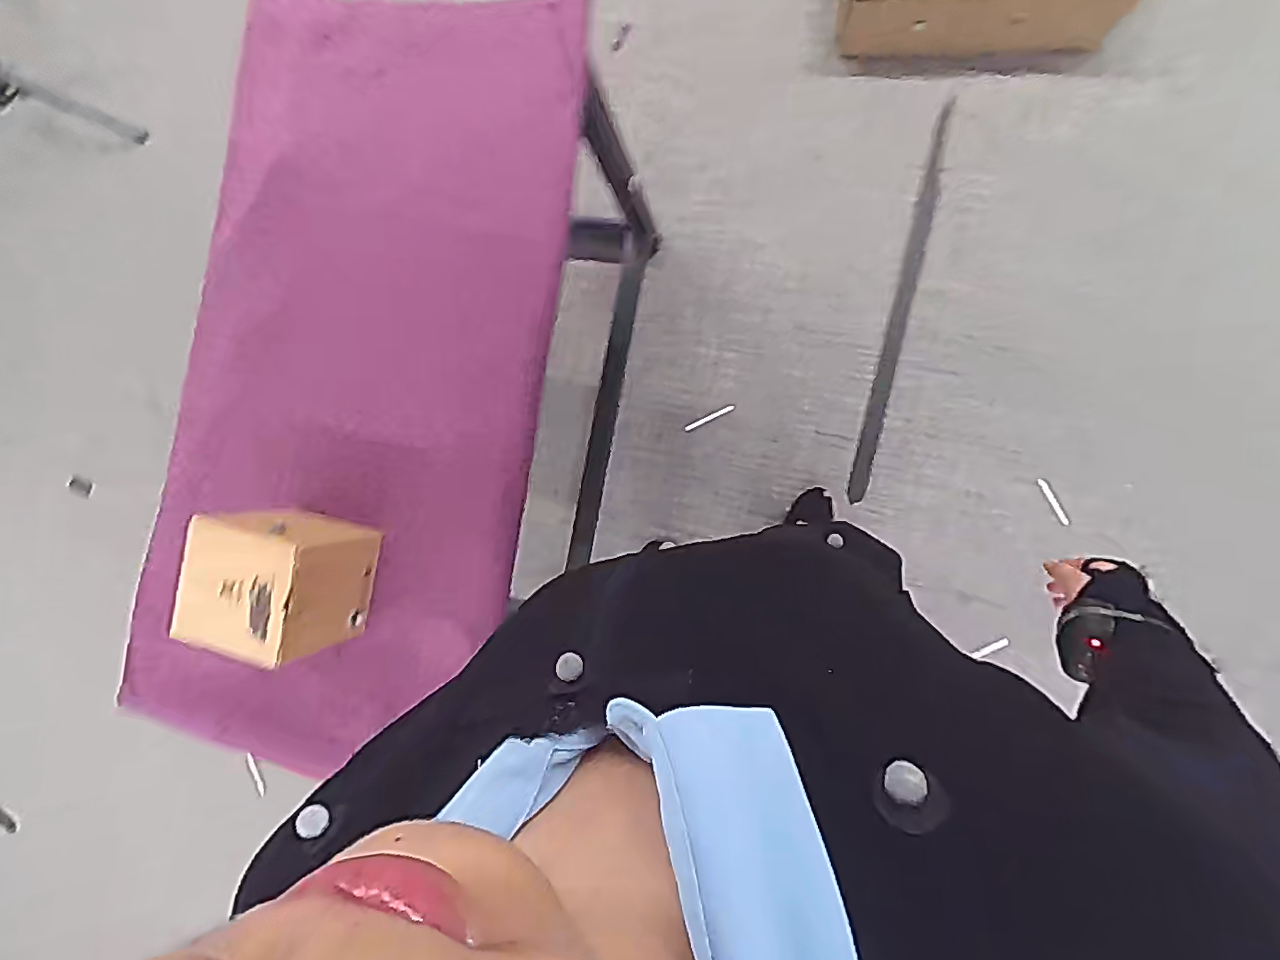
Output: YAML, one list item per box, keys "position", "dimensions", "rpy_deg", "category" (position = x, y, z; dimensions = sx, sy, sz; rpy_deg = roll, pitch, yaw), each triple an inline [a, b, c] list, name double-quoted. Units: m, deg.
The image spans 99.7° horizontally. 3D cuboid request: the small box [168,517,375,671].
- position: [-0.523, 0.151, 0.789]
  dimensions: [0.179, 0.176, 0.168]
  rpy_deg: [12, 92, 11]
  category: "small box"
